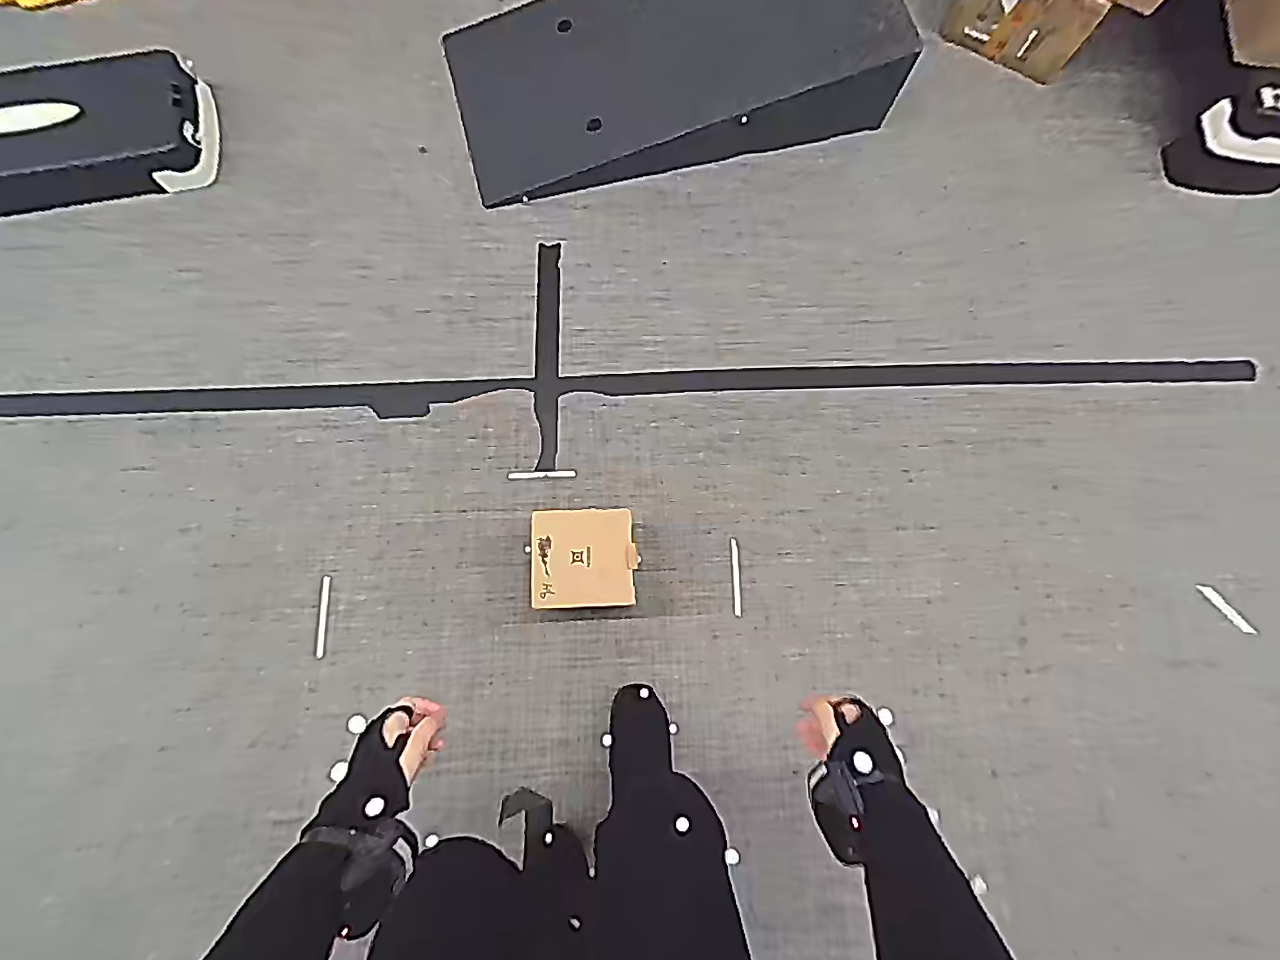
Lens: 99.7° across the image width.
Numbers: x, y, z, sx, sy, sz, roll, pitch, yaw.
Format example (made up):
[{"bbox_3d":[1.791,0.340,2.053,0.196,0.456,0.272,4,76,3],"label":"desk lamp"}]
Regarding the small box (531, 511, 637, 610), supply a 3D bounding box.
[{"bbox_3d":[-0.098,0.147,0.979,0.179,0.176,0.168,-1,78,-3],"label":"small box"}]
